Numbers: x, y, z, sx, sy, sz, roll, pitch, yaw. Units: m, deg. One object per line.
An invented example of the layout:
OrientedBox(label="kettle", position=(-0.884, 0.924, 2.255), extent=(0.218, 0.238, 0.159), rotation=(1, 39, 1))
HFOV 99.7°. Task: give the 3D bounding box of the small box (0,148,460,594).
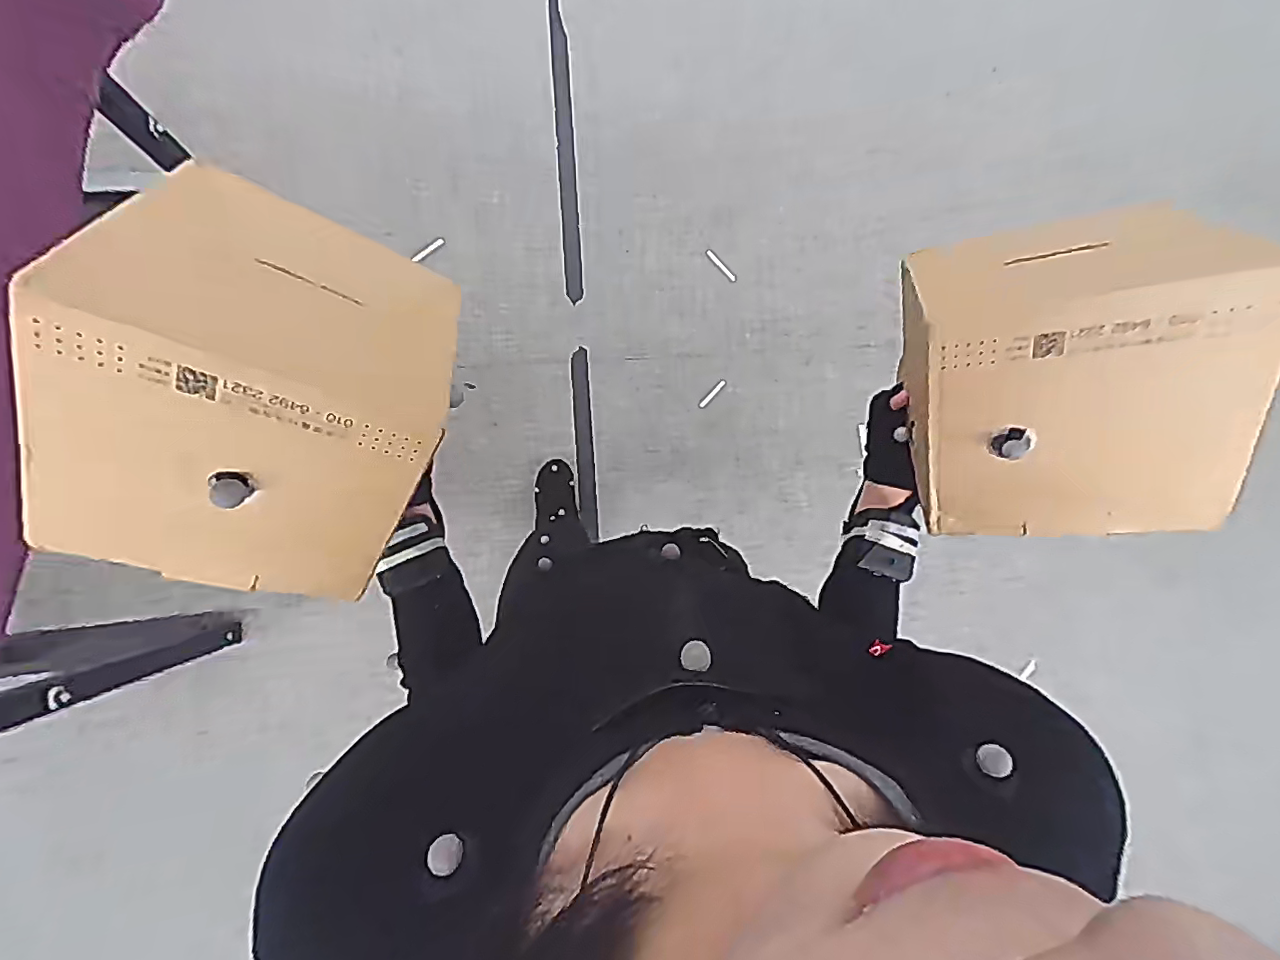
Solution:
OrientedBox(label="small box", position=(-0.222, -0.062, 0.326), extent=(0.168, 0.179, 0.176), rotation=(21, 125, -28))

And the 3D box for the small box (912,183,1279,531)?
OrientedBox(label="small box", position=(0.287, -0.085, 0.372), extent=(0.168, 0.179, 0.176), rotation=(-3, 124, 22))
